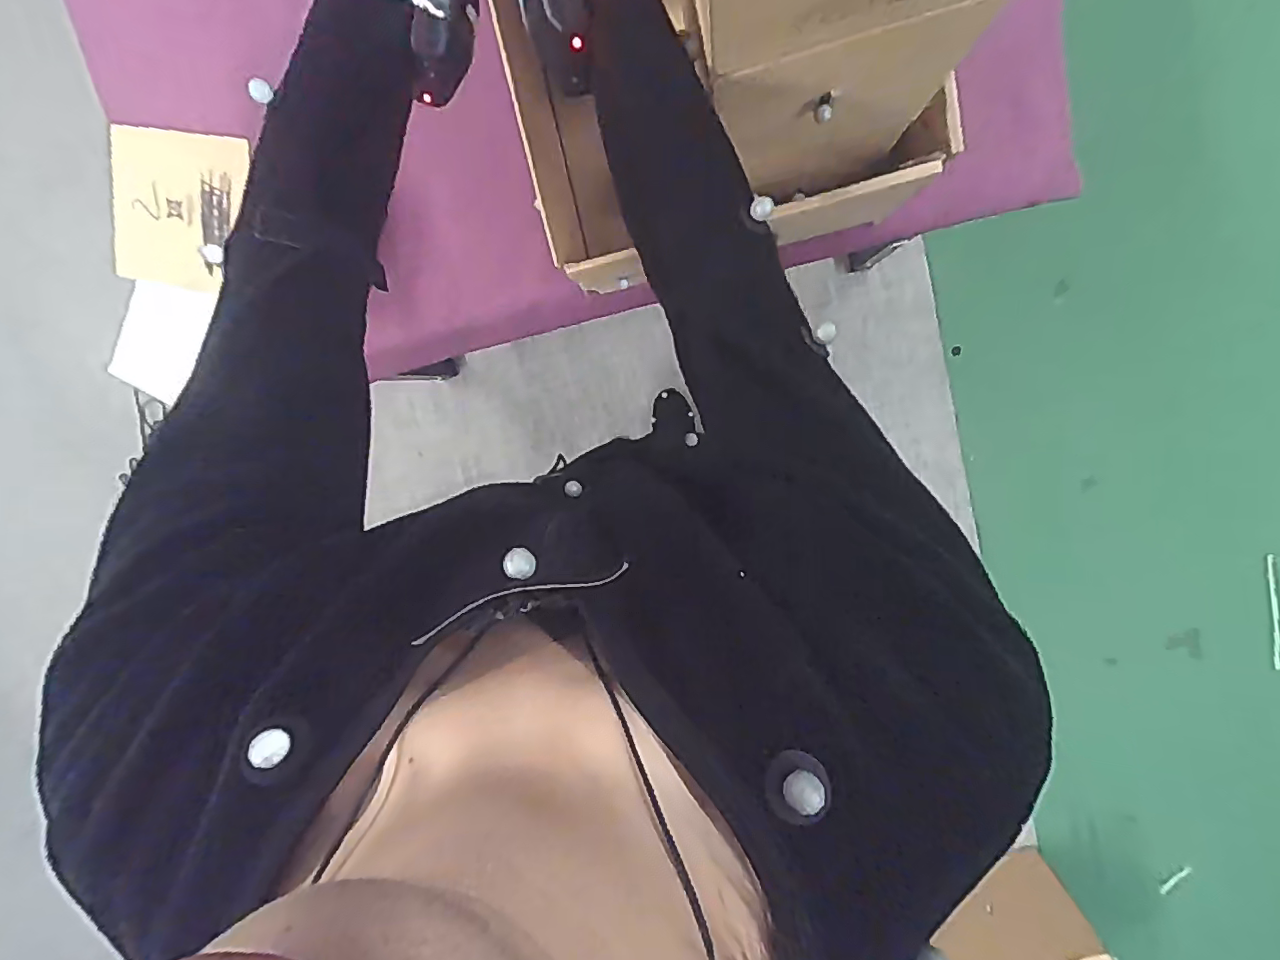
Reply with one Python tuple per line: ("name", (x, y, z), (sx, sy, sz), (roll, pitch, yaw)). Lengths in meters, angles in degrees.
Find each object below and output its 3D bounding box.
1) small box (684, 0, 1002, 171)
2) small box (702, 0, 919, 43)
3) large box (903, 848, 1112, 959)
("small box", (0.123, -0.354, 0.385), (0.179, 0.176, 0.168), (-10, 98, 12))
("small box", (0.096, -0.331, 0.225), (0.168, 0.176, 0.179), (-10, 98, 10))
("large box", (1.017, 1.308, 1.469), (0.408, 0.320, 0.320), (-28, 96, 10))
